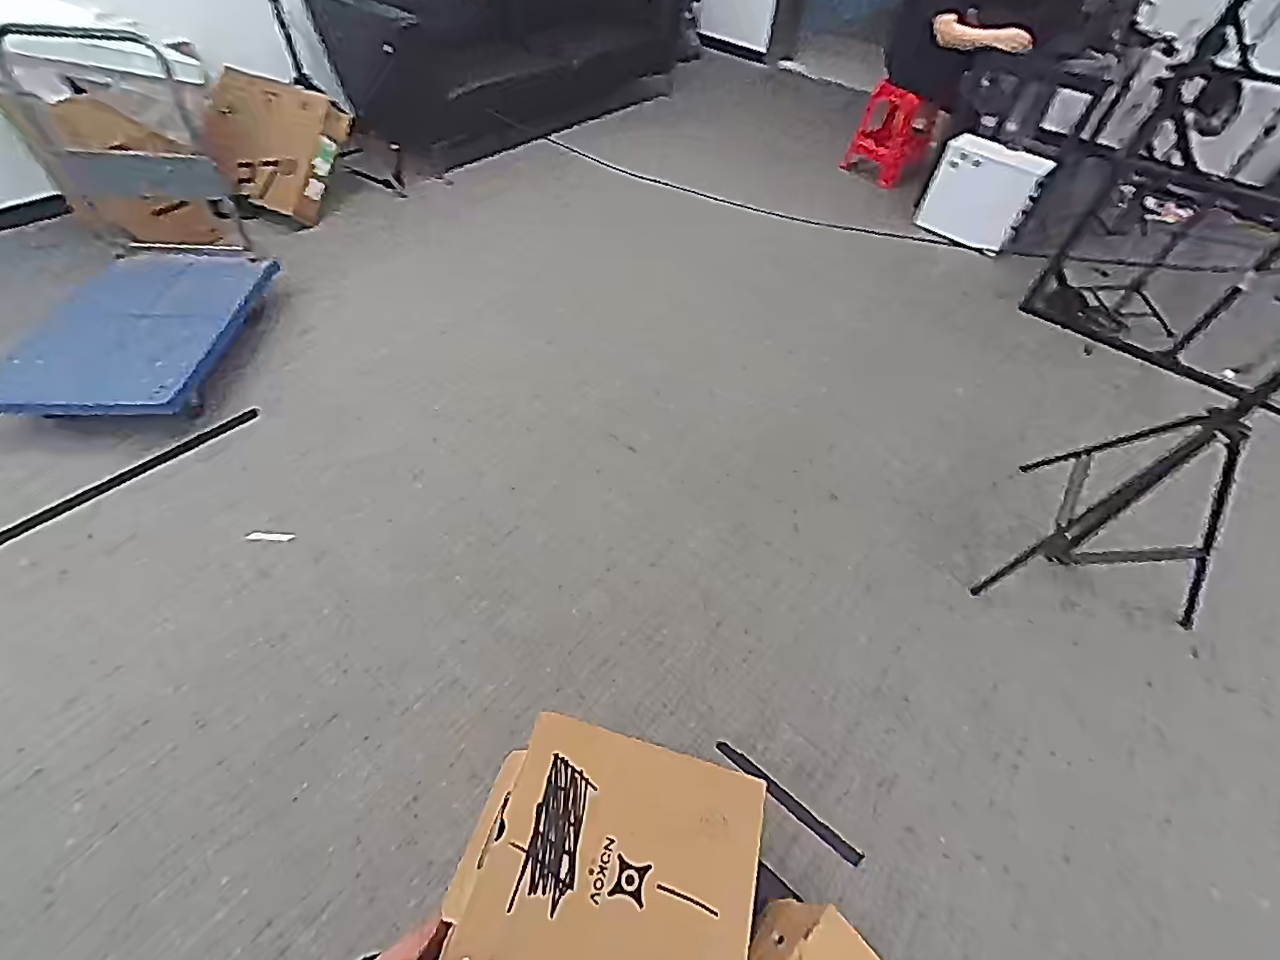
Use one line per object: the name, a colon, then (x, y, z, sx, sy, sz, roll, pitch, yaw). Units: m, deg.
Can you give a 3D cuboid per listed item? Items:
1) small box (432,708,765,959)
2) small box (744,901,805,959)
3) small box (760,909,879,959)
small box: (-0.021, 0.302, 0.400, 0.179, 0.176, 0.168, 15, 48, 8)
small box: (0.243, 0.828, 0.870, 0.168, 0.176, 0.179, 39, 58, 25)
small box: (0.260, 0.731, 0.739, 0.168, 0.176, 0.179, -34, 60, -26)
